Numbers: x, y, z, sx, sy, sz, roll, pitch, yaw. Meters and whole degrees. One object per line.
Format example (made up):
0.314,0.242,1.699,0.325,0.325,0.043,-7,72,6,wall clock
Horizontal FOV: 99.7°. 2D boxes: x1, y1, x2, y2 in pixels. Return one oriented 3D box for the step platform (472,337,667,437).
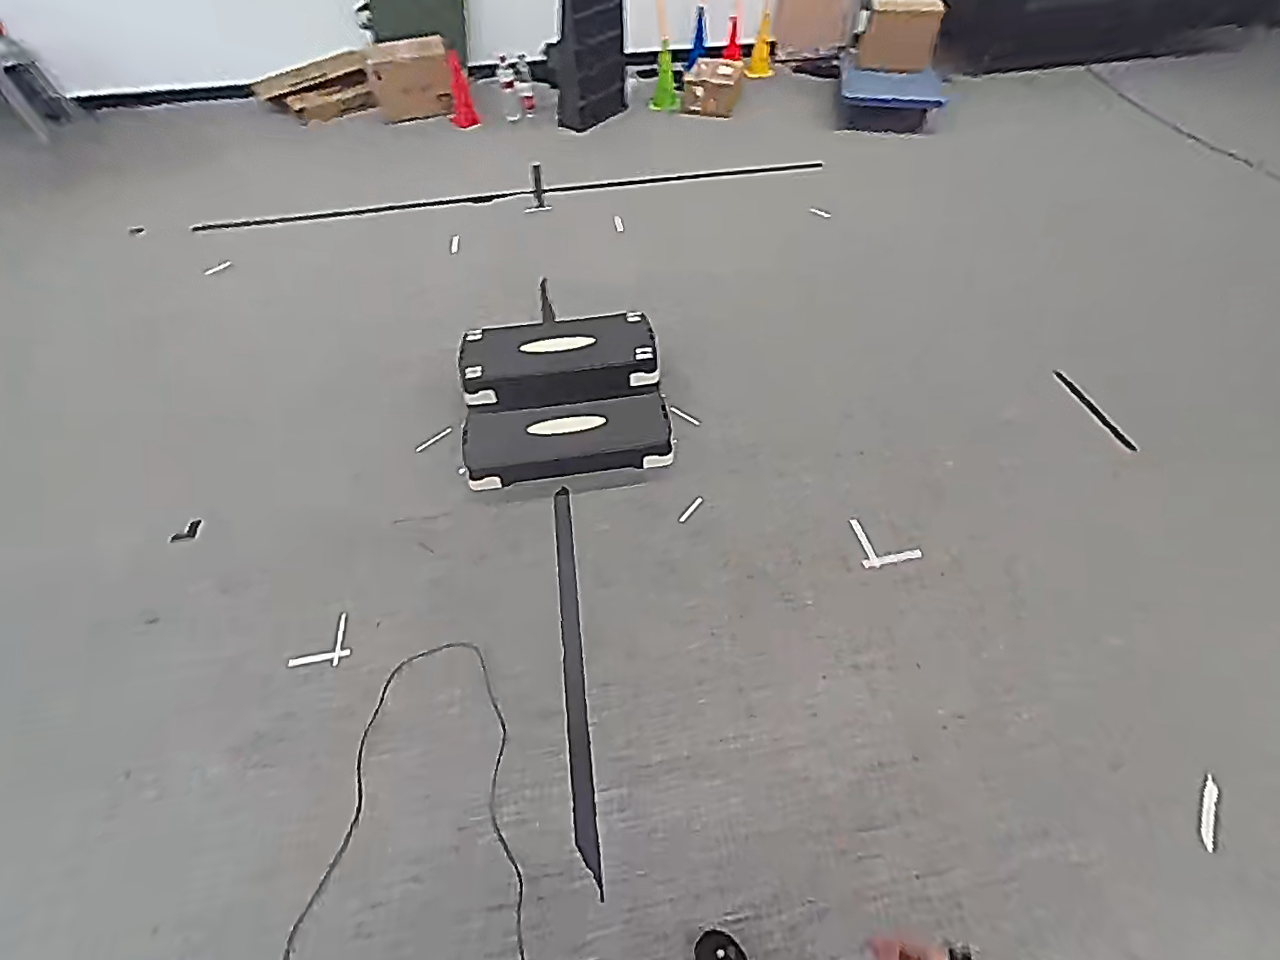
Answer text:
-0.245,-0.338,1.929,0.684,0.204,0.286,-4,51,-2,step platform
